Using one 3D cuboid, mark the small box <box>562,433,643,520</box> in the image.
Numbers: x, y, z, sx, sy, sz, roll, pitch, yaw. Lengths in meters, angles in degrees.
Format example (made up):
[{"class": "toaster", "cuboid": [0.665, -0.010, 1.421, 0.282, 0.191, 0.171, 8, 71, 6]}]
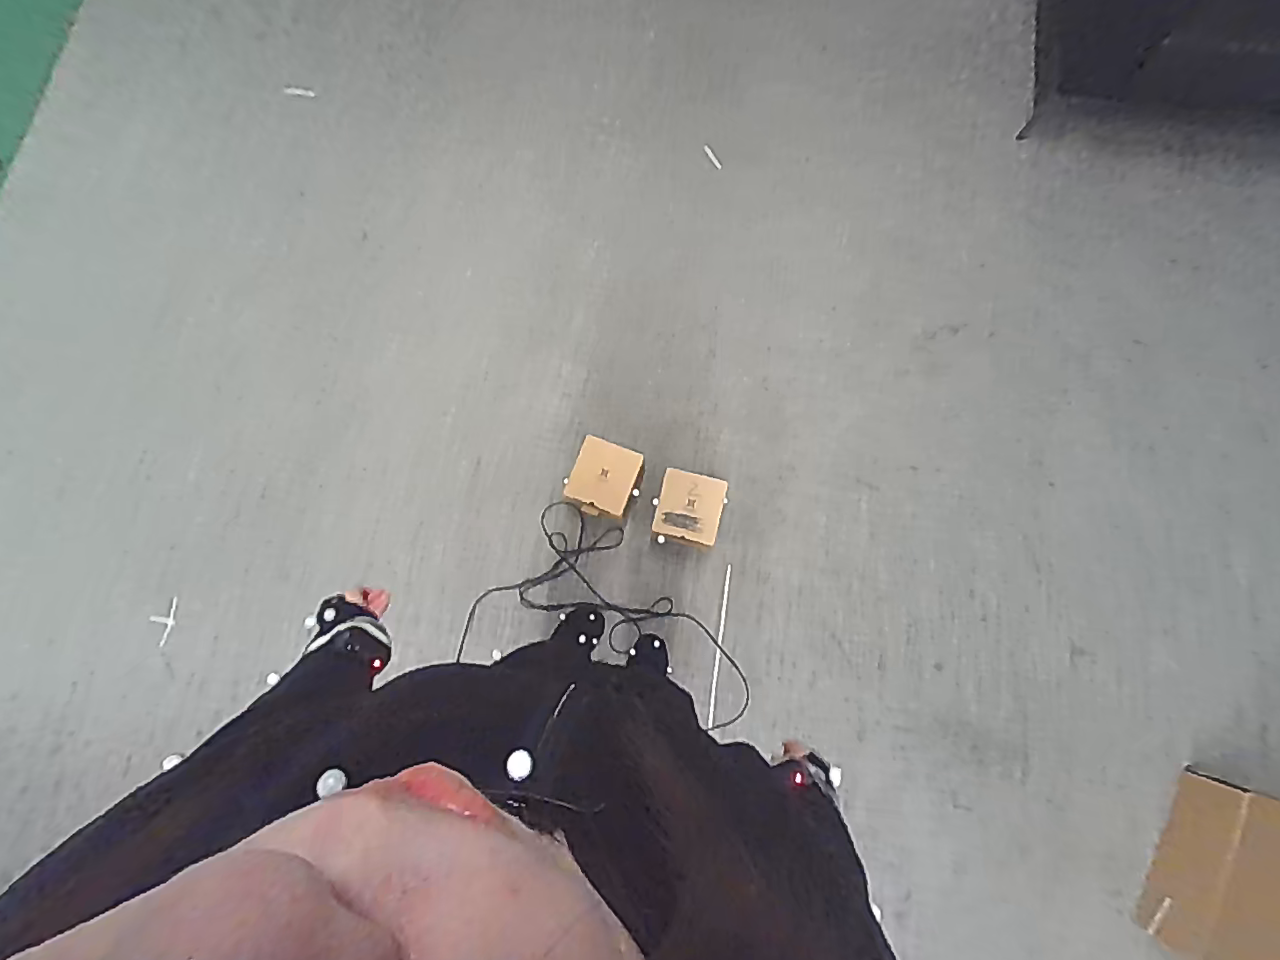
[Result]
[{"class": "small box", "cuboid": [-0.099, -0.004, 1.489, 0.168, 0.176, 0.179, 21, 81, 5]}]
